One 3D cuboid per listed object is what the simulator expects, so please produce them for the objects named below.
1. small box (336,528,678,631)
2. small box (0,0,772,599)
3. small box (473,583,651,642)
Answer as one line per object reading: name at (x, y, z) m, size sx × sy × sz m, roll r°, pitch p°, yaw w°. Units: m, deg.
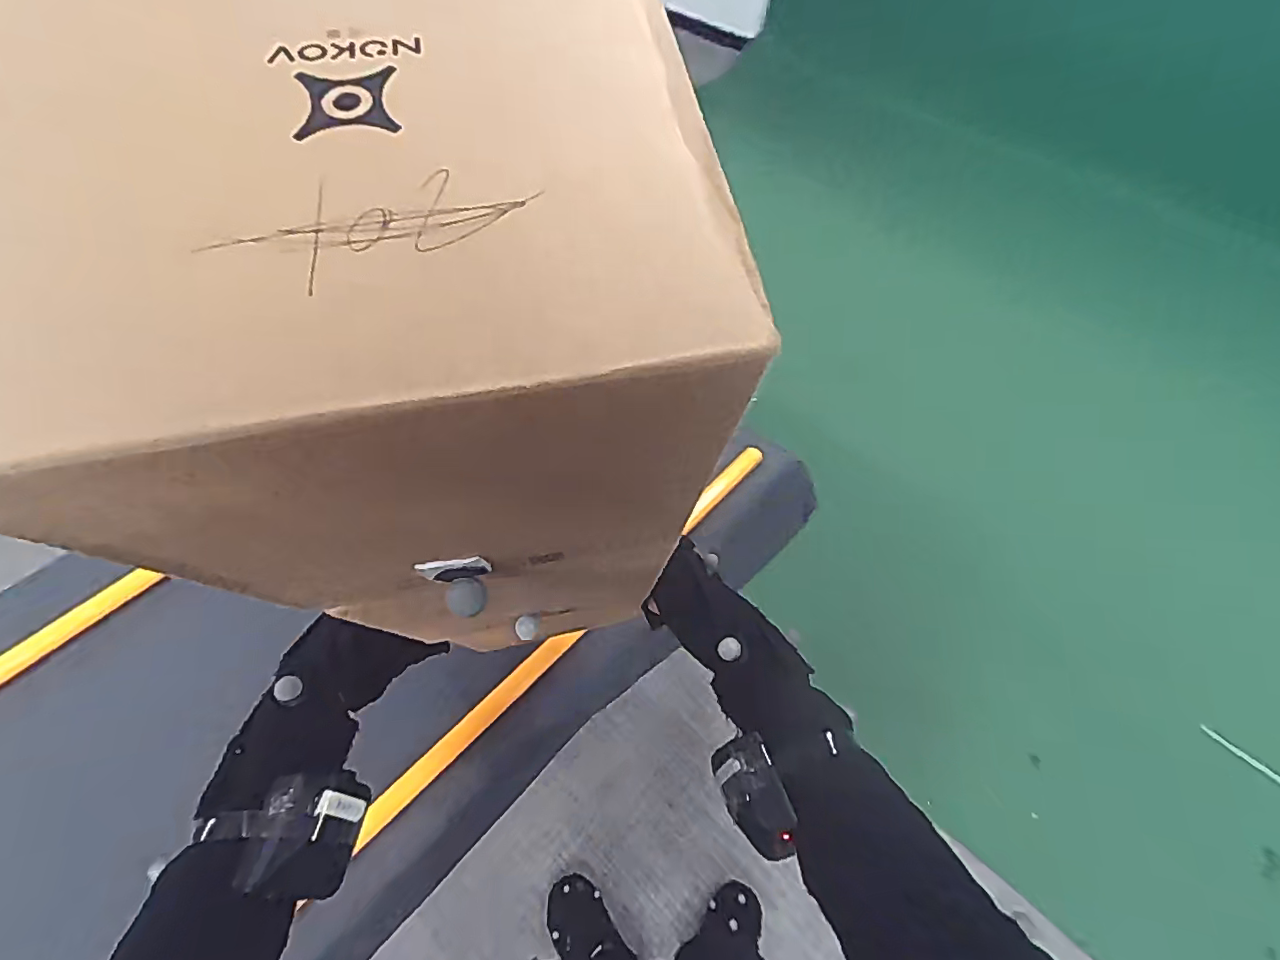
small box at (-0.082, -0.007, 0.362) m, size 0.168 × 0.176 × 0.179 m, roll -9°, pitch 71°, yaw -8°
small box at (-0.071, -0.063, 0.211) m, size 0.168 × 0.176 × 0.179 m, roll -10°, pitch 72°, yaw -7°
small box at (-0.092, 0.046, 0.518) m, size 0.168 × 0.176 × 0.179 m, roll -10°, pitch 70°, yaw -8°
